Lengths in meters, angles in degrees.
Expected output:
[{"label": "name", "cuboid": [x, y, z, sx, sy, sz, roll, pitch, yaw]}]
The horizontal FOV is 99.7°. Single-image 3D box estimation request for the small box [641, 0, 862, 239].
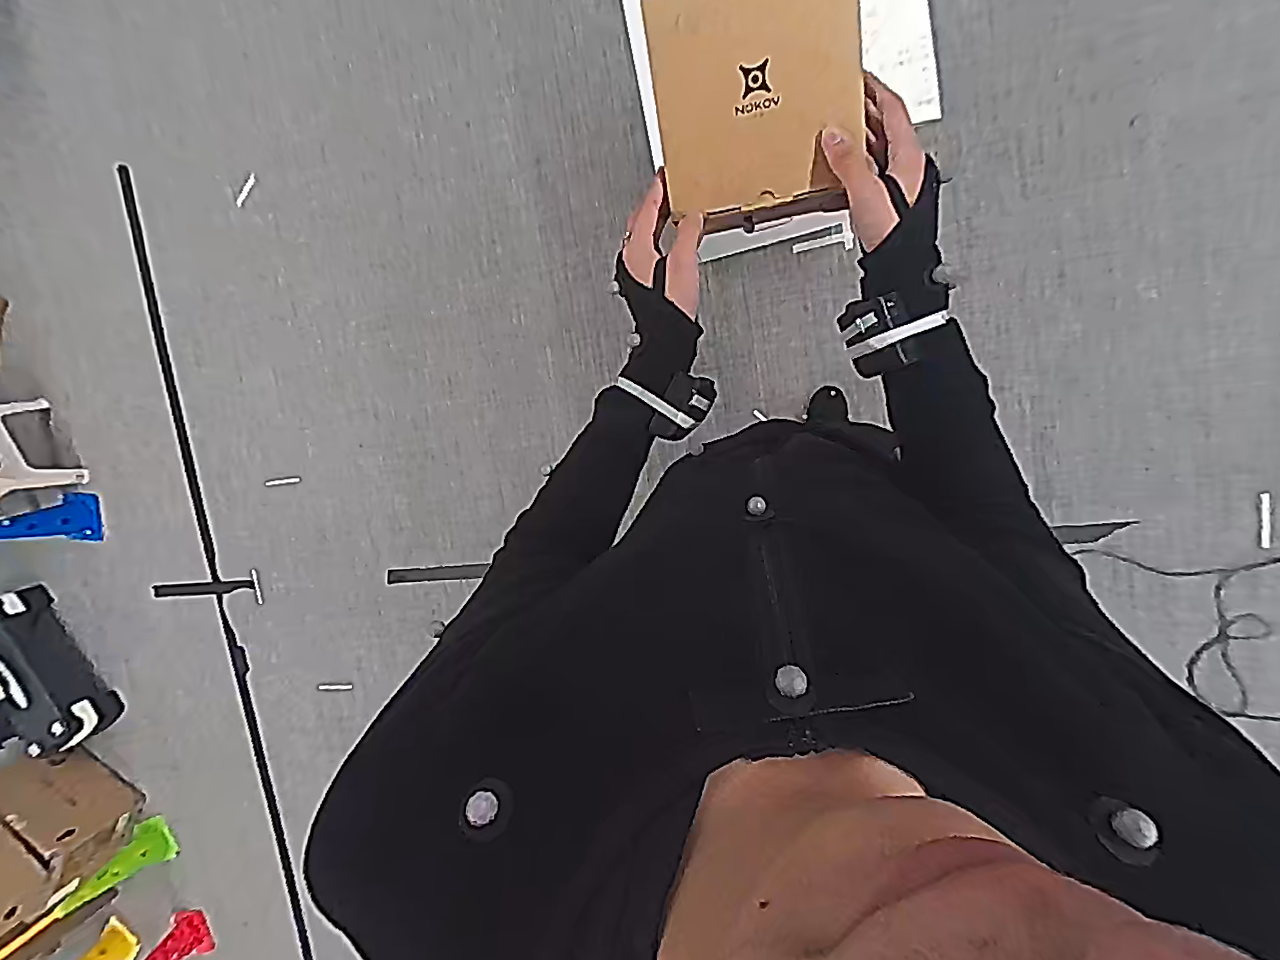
[{"label": "small box", "cuboid": [0.104, -0.343, 0.516, 0.168, 0.176, 0.179, -7, 109, 12]}]
